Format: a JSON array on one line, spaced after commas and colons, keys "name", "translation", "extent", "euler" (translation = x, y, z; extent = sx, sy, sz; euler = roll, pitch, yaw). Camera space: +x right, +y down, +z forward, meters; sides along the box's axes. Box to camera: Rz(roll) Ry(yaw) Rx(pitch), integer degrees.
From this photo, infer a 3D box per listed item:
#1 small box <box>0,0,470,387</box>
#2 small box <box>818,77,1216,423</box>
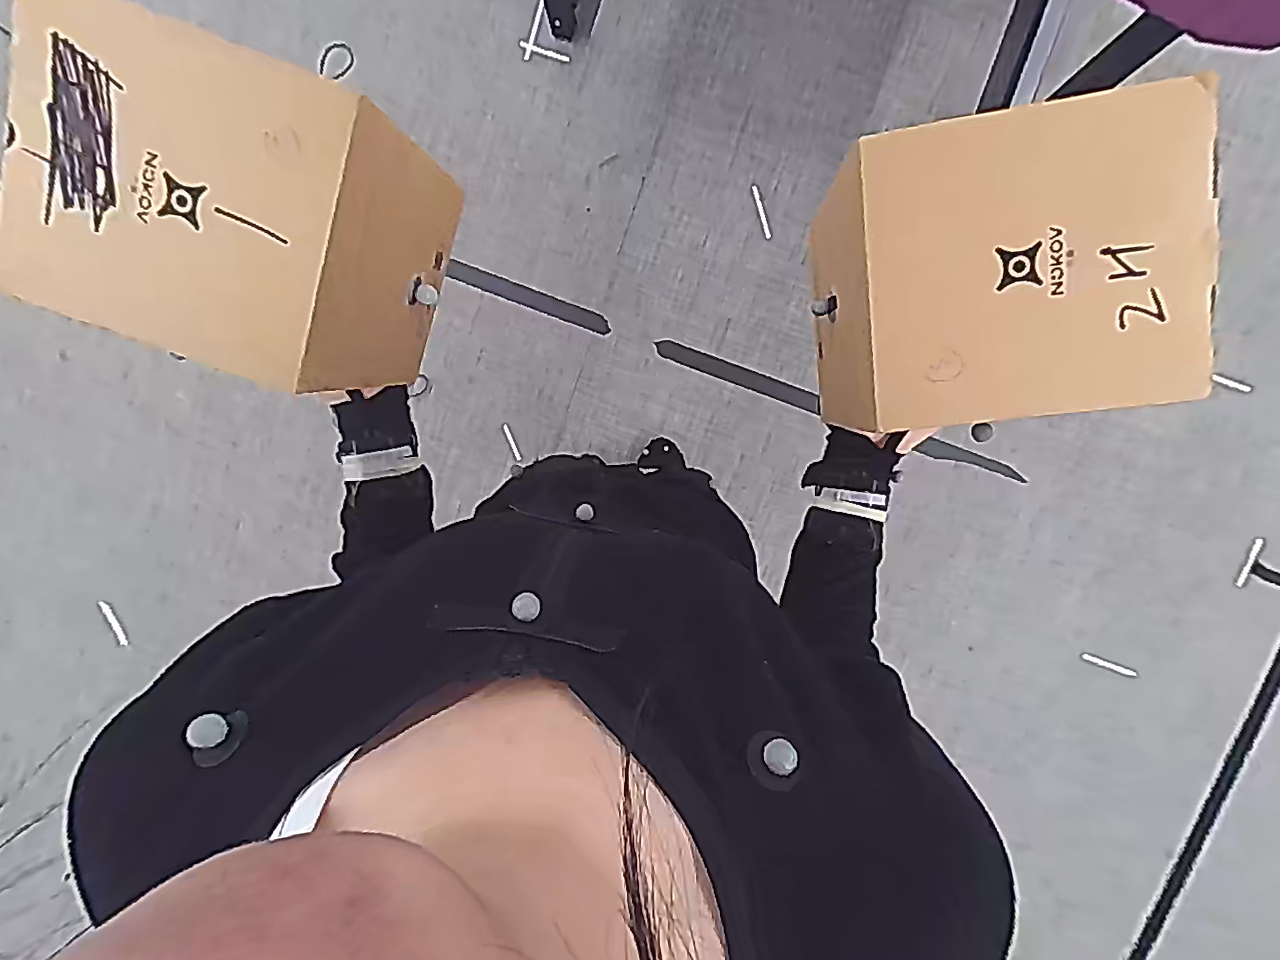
[{"name": "small box", "translation": [-0.242, -0.170, 0.365], "extent": [0.179, 0.176, 0.168], "euler": [20, 102, -4]}, {"name": "small box", "translation": [0.227, -0.130, 0.376], "extent": [0.179, 0.176, 0.168], "euler": [-6, 98, 8]}]
